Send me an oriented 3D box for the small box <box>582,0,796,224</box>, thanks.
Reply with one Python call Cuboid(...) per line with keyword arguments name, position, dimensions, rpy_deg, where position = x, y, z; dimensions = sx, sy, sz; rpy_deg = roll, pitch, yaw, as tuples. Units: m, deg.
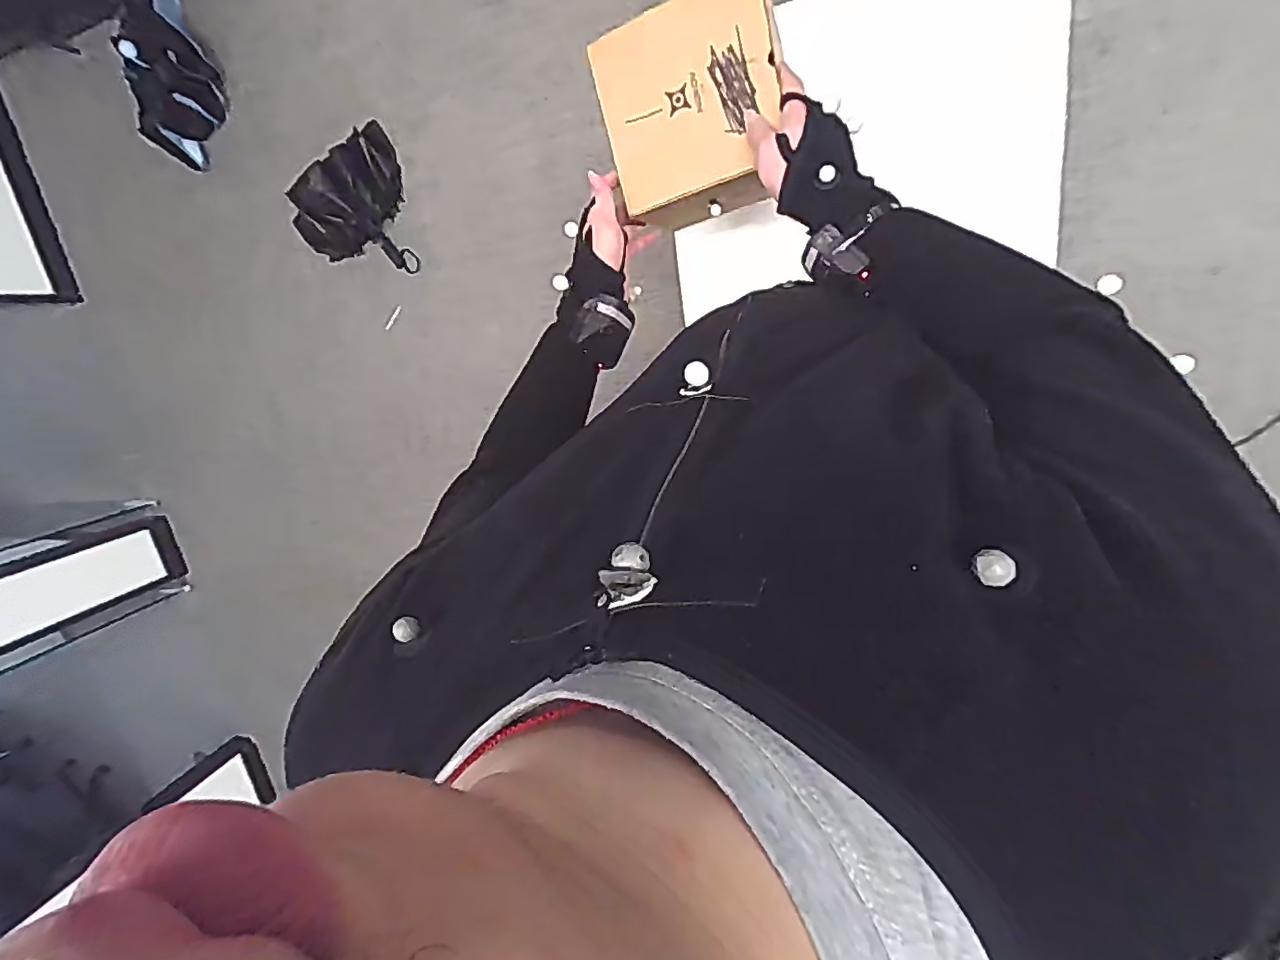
Cuboid(name="small box", position=(0.067, -0.395, 0.589), dimensions=(0.179, 0.176, 0.168), rpy_deg=(-9, 105, 25))
